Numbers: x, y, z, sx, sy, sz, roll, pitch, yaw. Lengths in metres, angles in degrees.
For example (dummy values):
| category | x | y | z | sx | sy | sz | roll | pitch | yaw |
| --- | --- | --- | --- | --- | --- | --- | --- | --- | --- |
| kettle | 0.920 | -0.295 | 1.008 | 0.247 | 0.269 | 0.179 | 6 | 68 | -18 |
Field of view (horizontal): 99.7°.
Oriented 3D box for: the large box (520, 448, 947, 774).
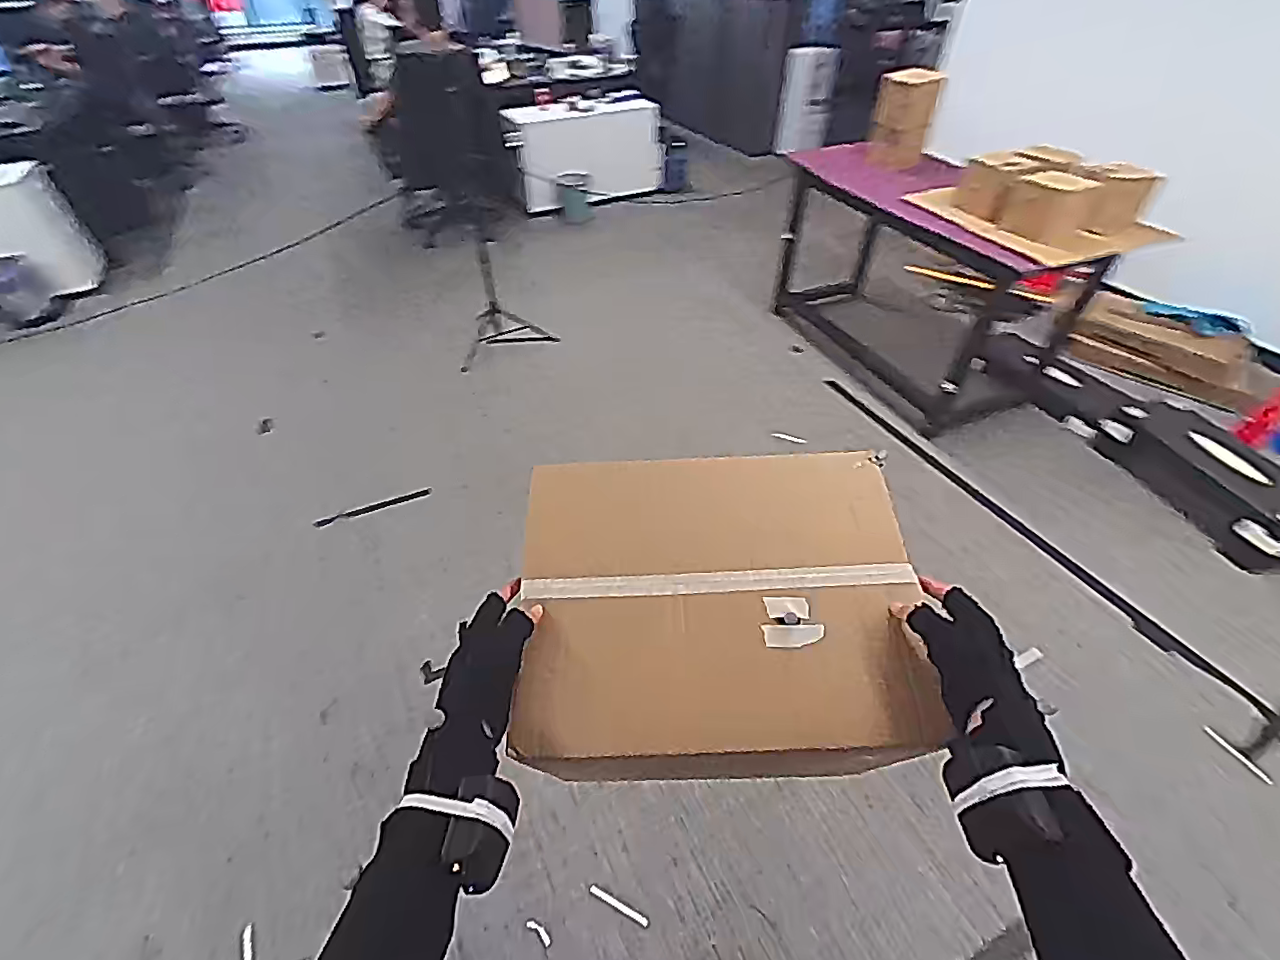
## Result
| category | x | y | z | sx | sy | sz | roll | pitch | yaw |
| --- | --- | --- | --- | --- | --- | --- | --- | --- | --- |
| large box | 0.081 | 0.182 | 0.698 | 0.408 | 0.320 | 0.320 | -3 | 58 | 0 |
